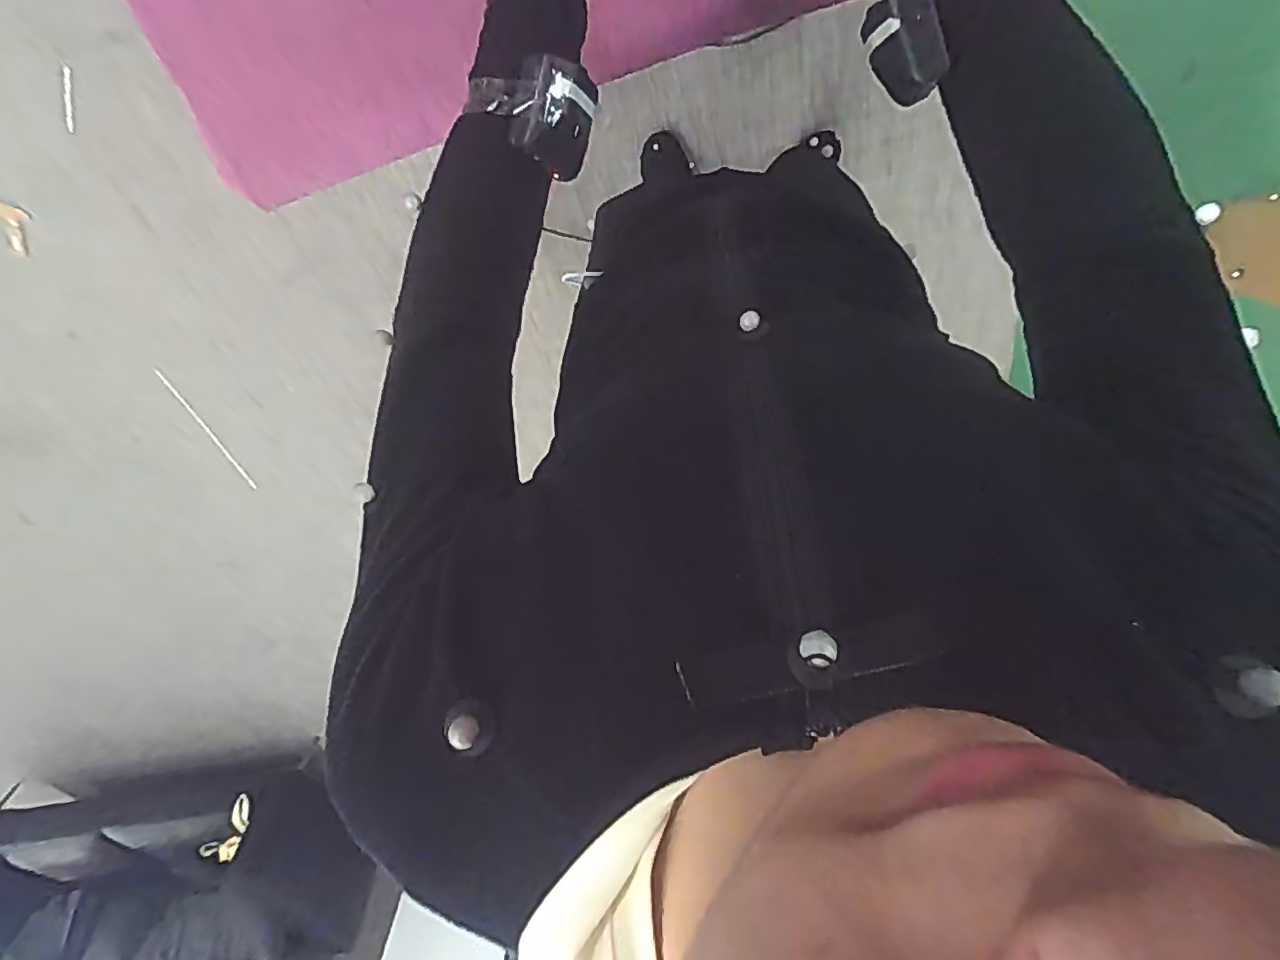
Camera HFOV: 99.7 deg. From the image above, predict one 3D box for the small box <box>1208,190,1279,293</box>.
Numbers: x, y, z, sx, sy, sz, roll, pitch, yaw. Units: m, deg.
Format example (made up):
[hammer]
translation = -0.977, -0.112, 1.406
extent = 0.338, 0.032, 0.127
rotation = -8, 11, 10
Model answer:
[small box]
translation = 1.537, -0.580, 1.298
extent = 0.168, 0.176, 0.179
rotation = -14, 124, 12
